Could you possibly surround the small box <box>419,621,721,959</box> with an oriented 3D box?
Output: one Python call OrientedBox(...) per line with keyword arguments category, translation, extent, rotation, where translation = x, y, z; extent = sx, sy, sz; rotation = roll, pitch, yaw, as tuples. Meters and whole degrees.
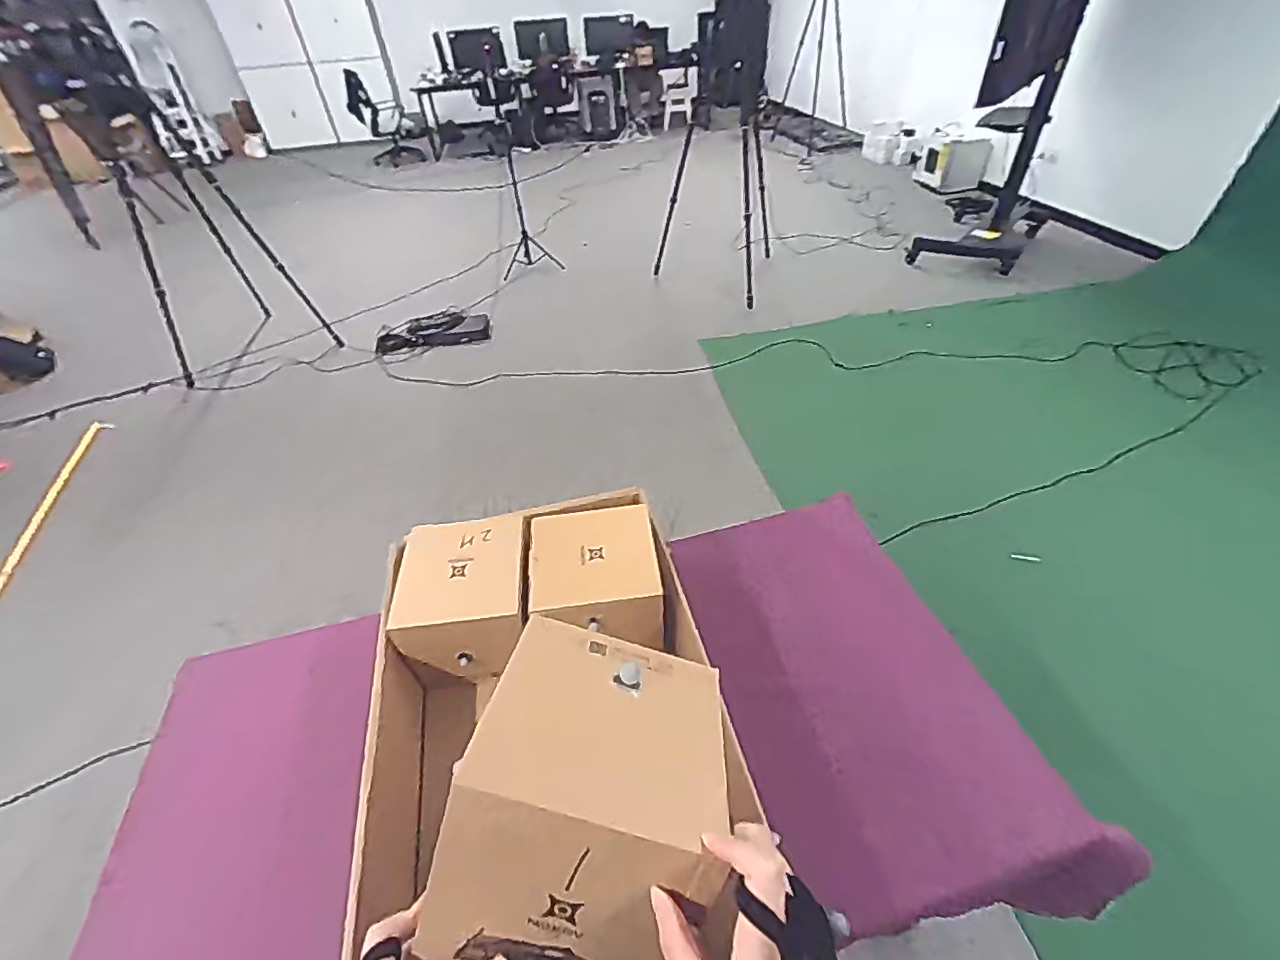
OrientedBox(category="small box", translation=(-0.043, 0.243, 0.415), extent=(0.168, 0.179, 0.176), rotation=(17, 19, 0))
